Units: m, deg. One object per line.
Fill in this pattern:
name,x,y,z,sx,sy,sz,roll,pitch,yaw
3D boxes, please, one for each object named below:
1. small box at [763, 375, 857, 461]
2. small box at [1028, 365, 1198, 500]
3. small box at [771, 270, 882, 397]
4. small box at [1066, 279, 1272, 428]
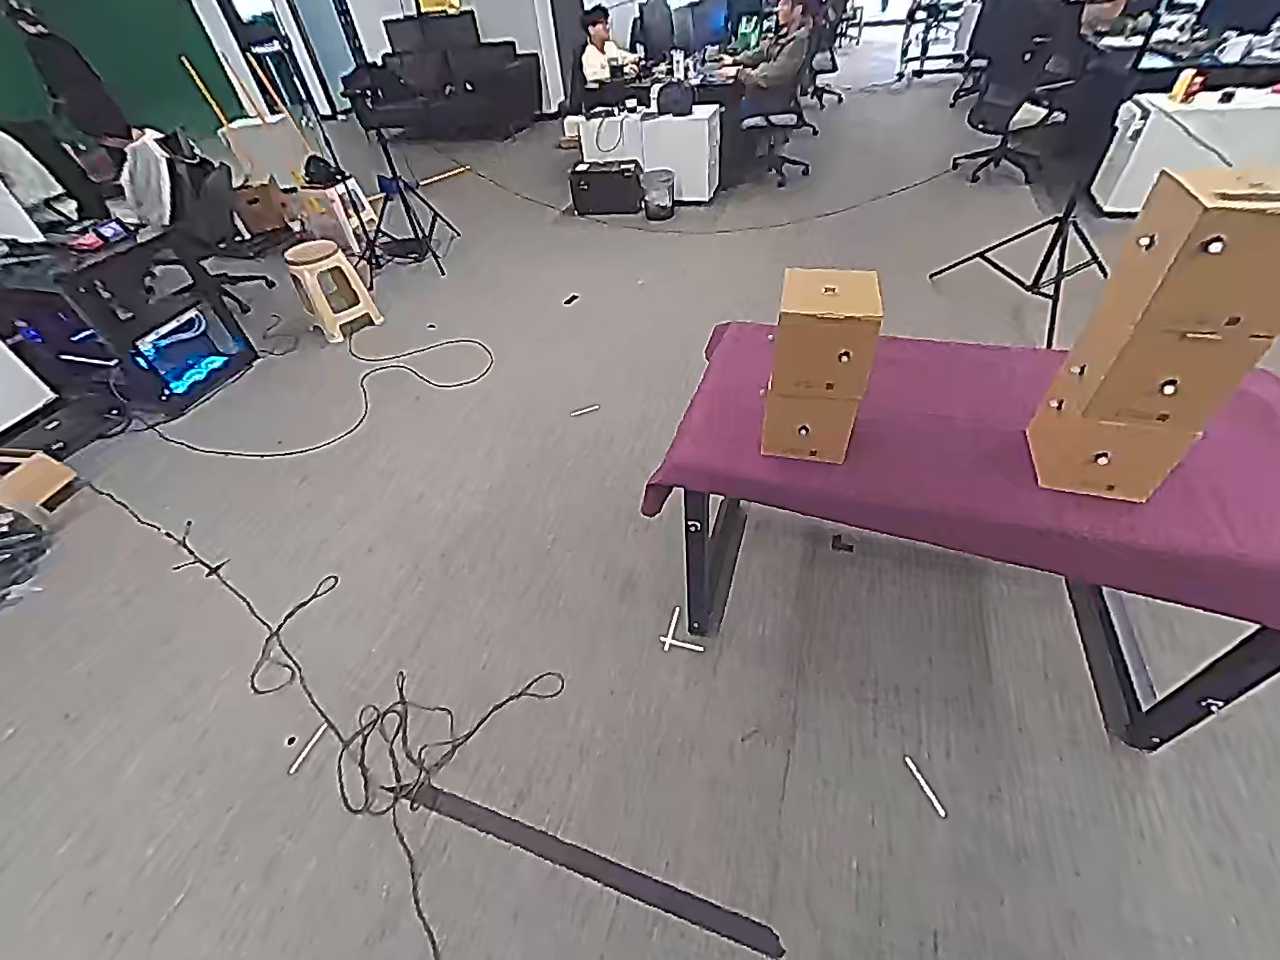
small box,0.350,-0.160,1.119,0.168,0.176,0.179,8,45,13
small box,0.848,-0.086,0.992,0.168,0.176,0.179,10,46,17
small box,0.338,-0.271,1.000,0.168,0.176,0.179,7,45,12
small box,0.837,-0.206,0.881,0.168,0.176,0.179,11,47,17
